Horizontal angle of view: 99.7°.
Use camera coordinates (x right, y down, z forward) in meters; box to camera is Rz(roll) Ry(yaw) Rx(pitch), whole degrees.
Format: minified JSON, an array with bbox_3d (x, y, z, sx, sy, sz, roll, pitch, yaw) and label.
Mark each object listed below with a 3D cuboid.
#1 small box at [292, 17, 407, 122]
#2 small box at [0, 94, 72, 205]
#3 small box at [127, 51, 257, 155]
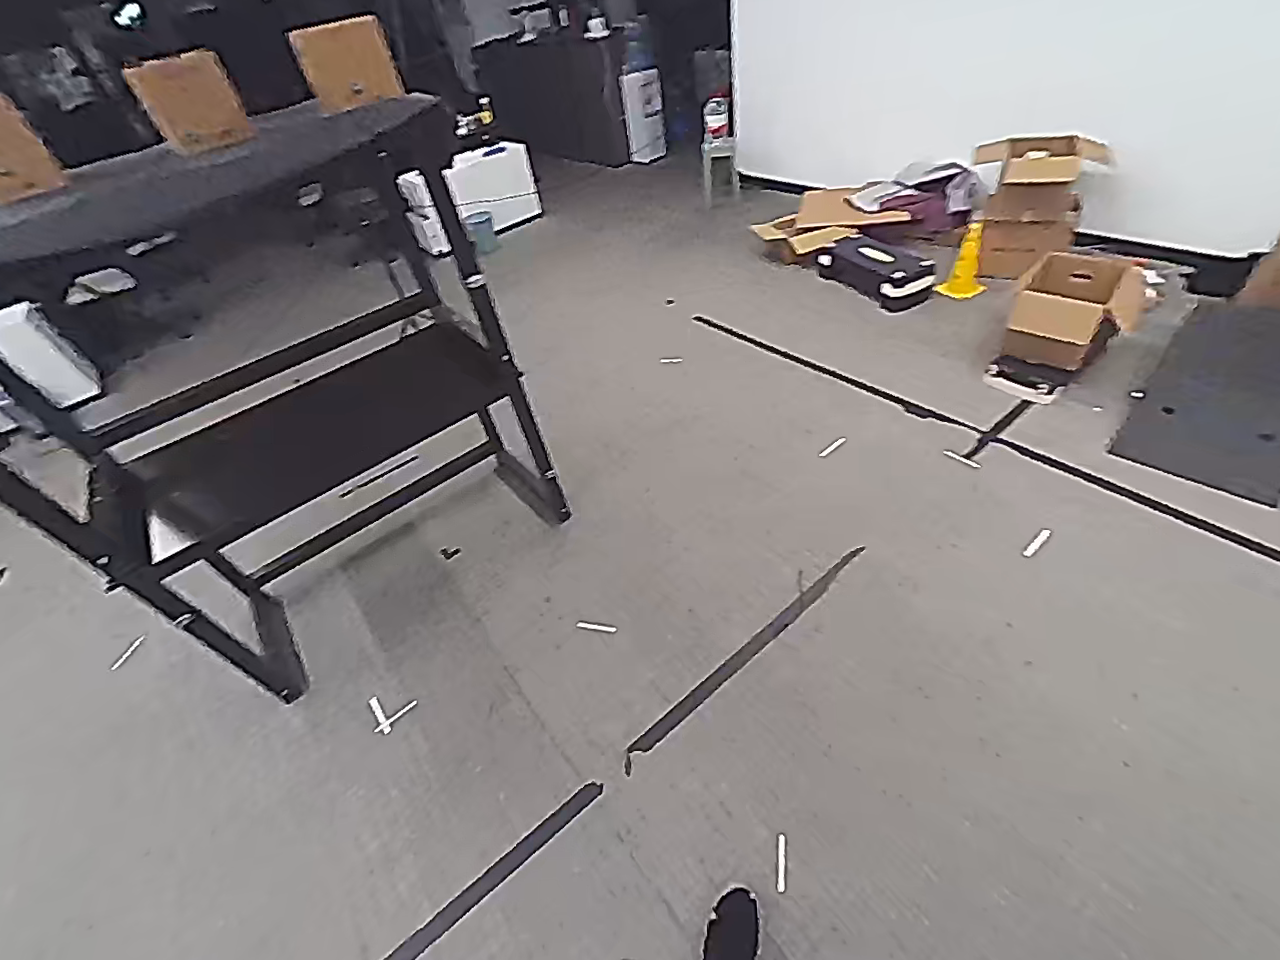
[{"bbox_3d":[-0.676,-0.958,1.267,0.168,0.176,0.179,-31,47,-18],"label":"small box"},{"bbox_3d":[-1.367,-0.696,1.145,0.168,0.176,0.179,-37,50,-24],"label":"small box"},{"bbox_3d":[-1.041,-0.879,1.265,0.168,0.176,0.179,-36,48,-23],"label":"small box"}]
